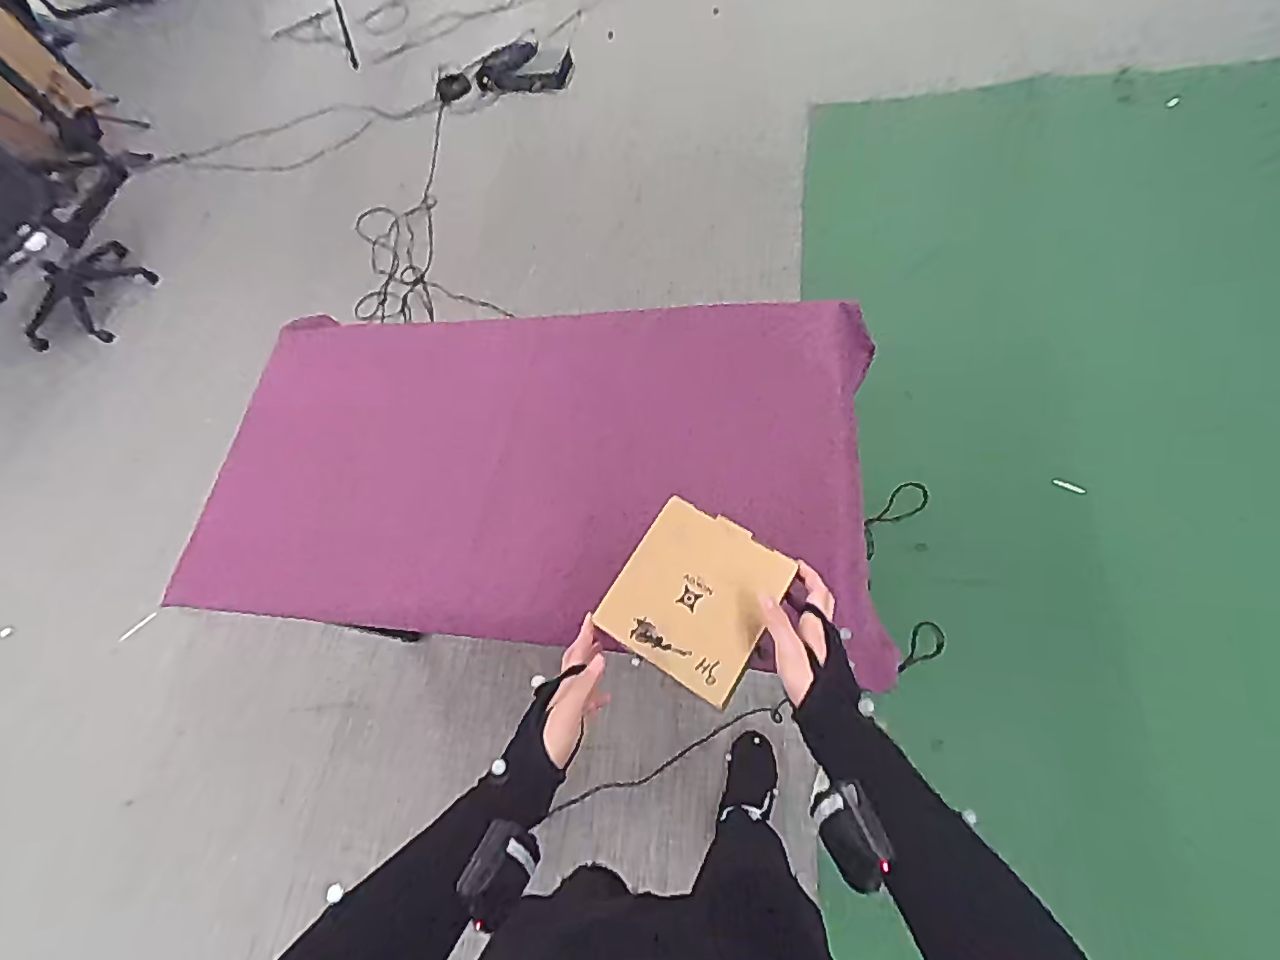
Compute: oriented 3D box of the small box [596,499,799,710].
[{"bbox_3d":[0.073,0.158,0.664,0.168,0.176,0.179,29,73,21],"label":"small box"}]
